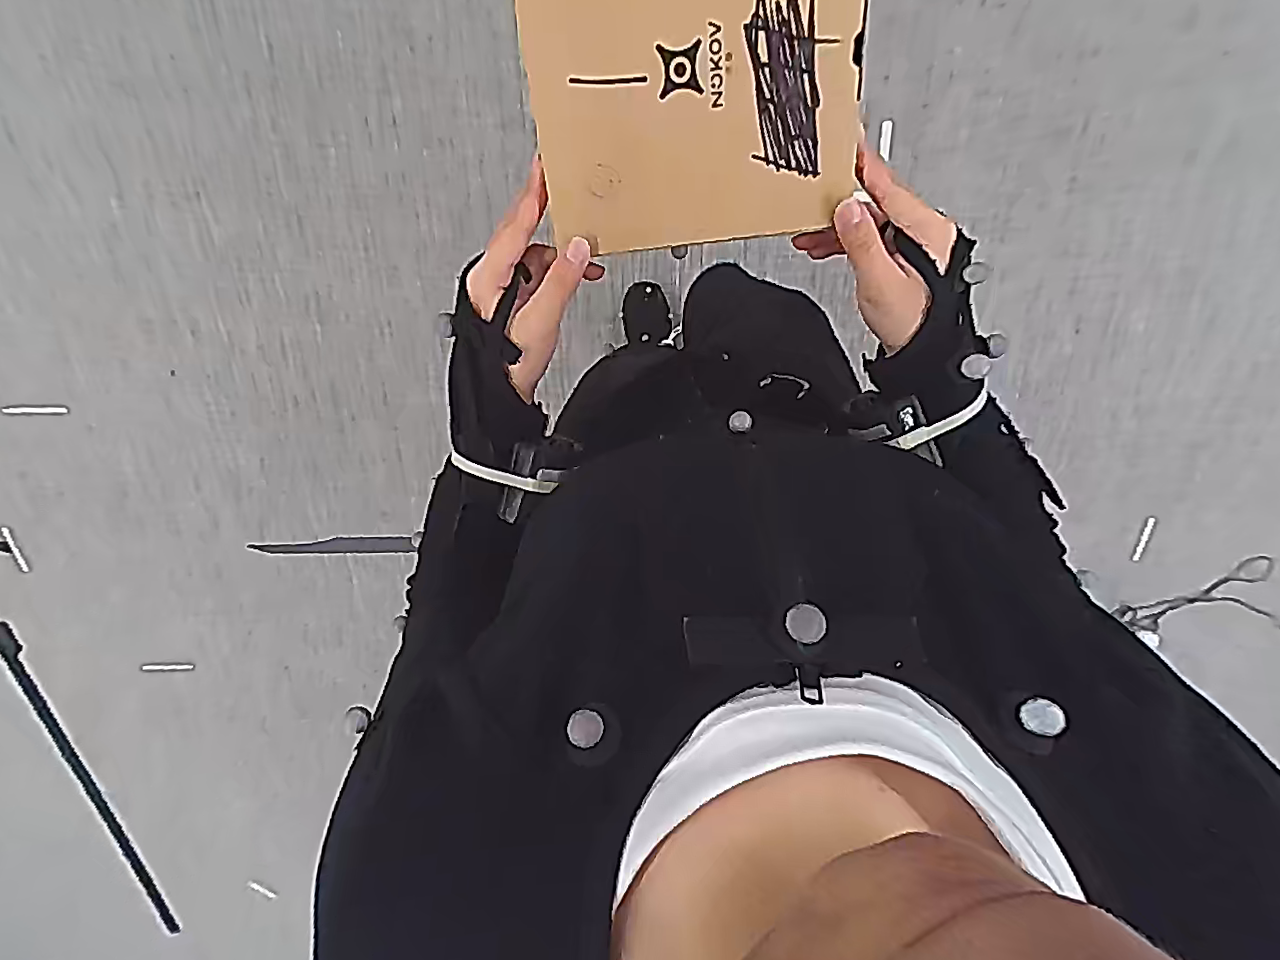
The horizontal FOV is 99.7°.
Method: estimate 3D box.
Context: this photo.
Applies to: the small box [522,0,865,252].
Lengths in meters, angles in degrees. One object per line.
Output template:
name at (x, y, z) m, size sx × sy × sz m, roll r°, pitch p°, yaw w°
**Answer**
small box at (0.028, -0.256, 0.356) m, size 0.179 × 0.176 × 0.168 m, roll -6°, pitch 119°, yaw 2°
